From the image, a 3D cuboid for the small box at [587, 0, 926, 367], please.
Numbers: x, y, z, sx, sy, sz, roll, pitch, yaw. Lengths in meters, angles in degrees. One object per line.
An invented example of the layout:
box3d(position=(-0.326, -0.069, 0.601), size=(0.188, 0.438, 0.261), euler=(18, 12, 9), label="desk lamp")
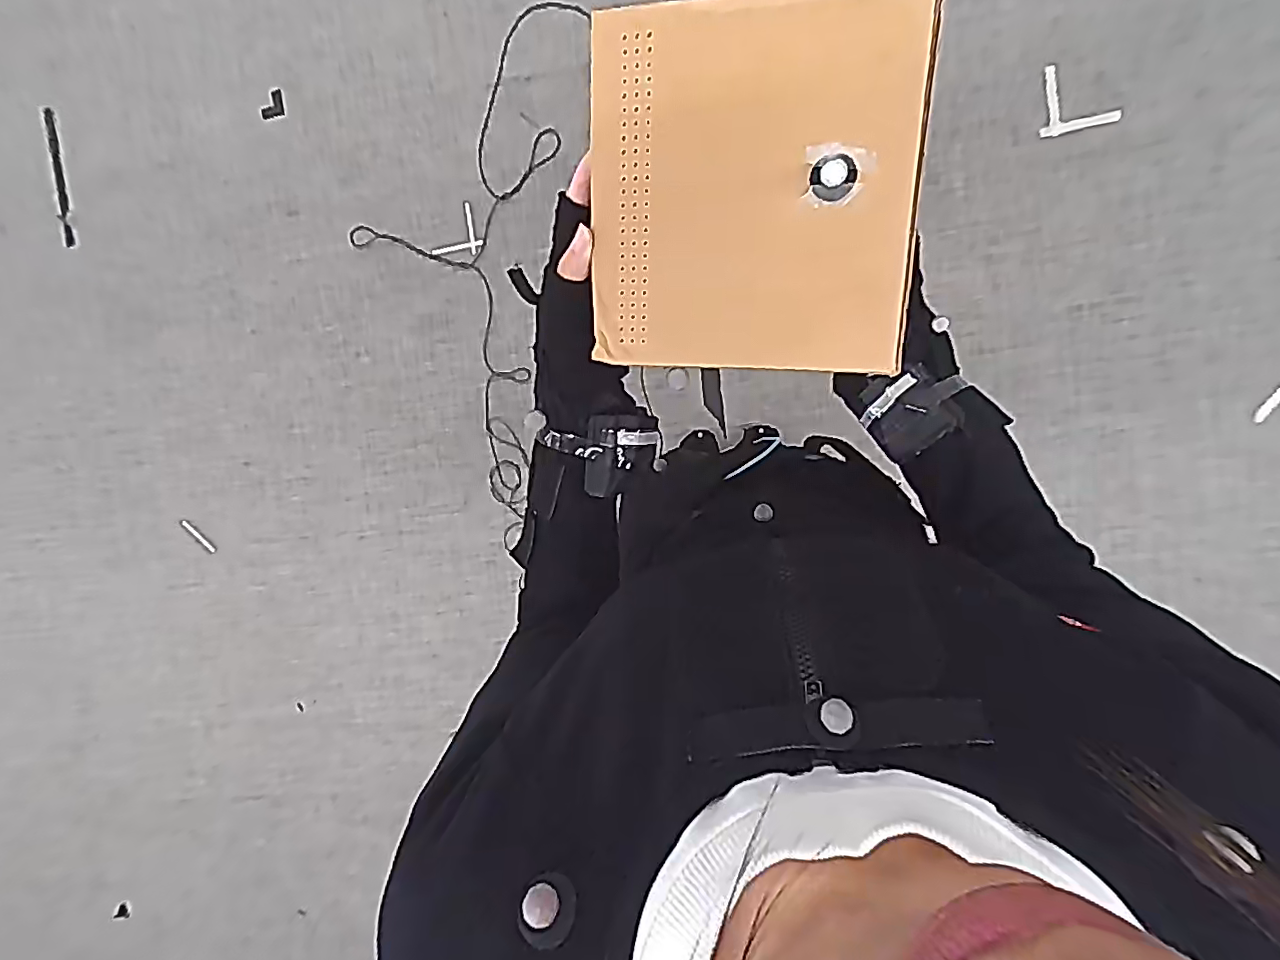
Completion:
box3d(position=(0.069, -0.166, 0.359), size=(0.176, 0.168, 0.179), euler=(5, 104, 15), label="small box")
